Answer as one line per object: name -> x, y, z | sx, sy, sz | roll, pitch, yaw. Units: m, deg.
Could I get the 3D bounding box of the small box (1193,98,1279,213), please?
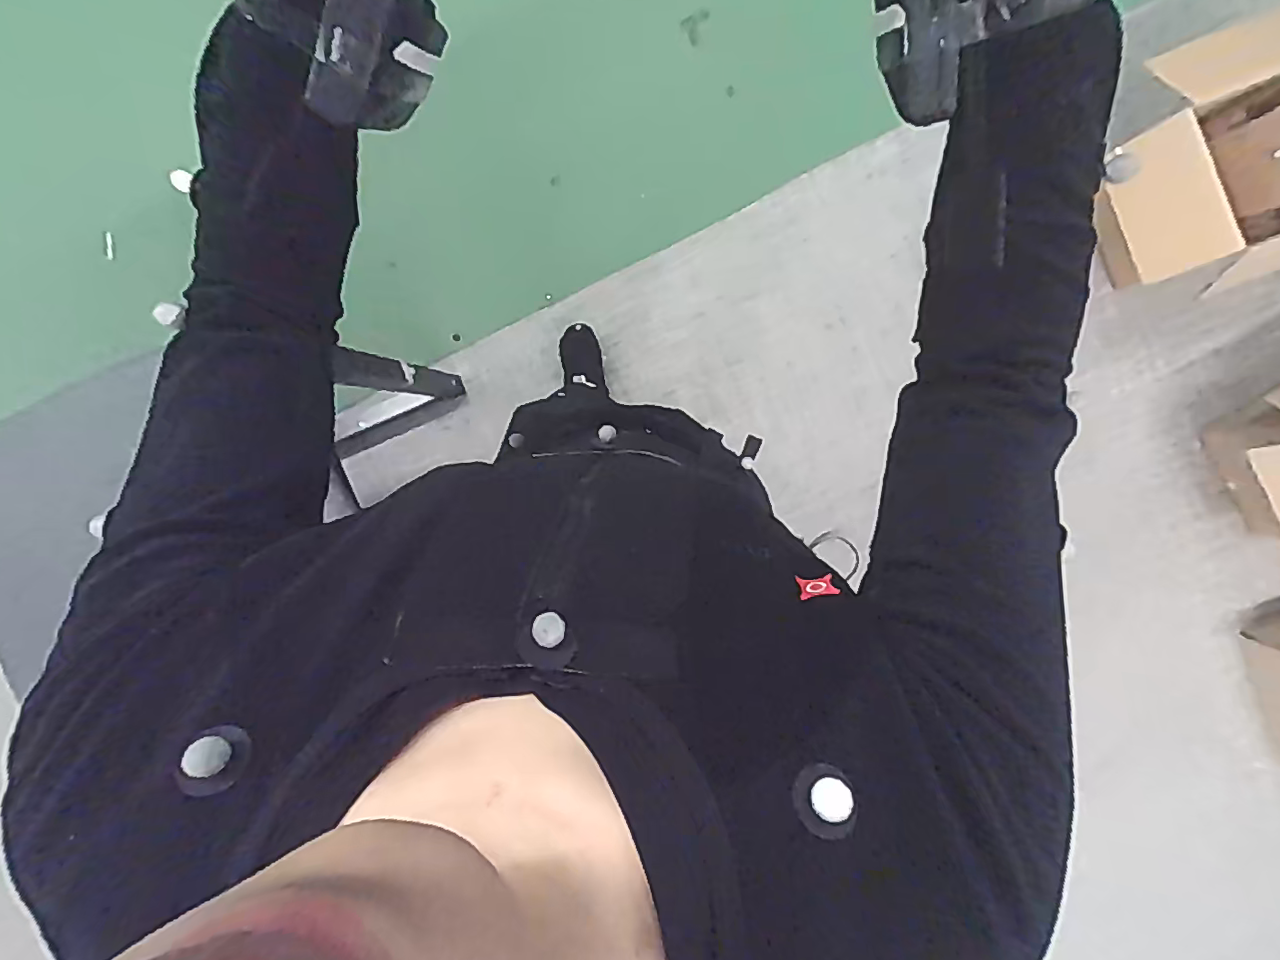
small box -> 1.296, -0.668, 1.092 | 0.168, 0.176, 0.179 | -21, 94, 3

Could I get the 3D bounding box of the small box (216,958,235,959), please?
small box -> -0.509, 0.656, 0.565 | 0.168, 0.176, 0.179 | -22, 93, 4

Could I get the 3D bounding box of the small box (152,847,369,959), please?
small box -> -0.505, 0.651, 0.730 | 0.168, 0.176, 0.179 | -20, 93, 4
